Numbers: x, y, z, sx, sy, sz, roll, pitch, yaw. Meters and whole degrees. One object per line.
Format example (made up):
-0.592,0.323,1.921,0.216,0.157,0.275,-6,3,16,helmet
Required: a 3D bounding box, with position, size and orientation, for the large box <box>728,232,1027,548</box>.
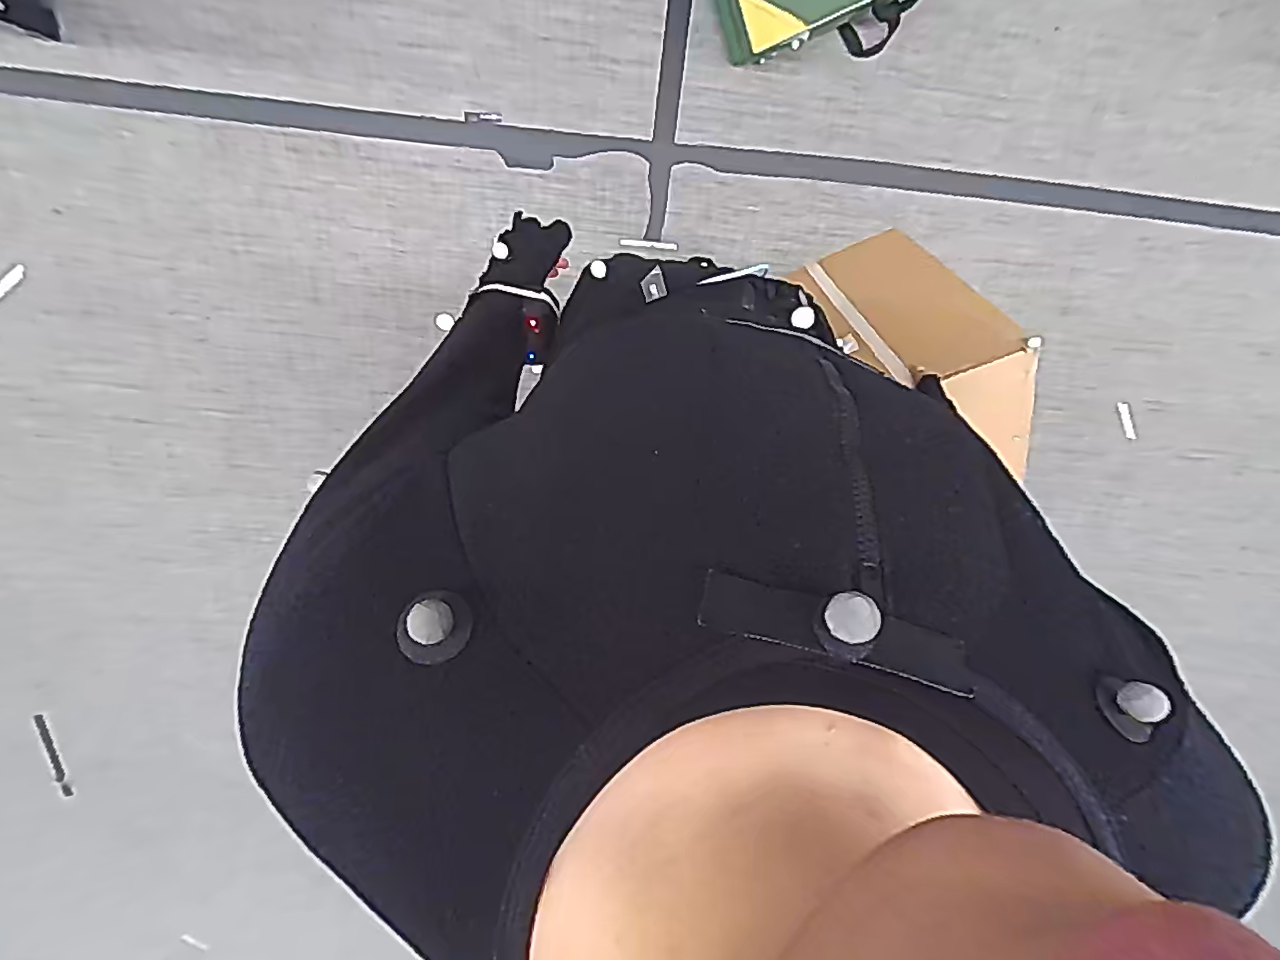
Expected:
0.385,-0.159,0.953,0.320,0.408,0.320,-22,134,12,large box
